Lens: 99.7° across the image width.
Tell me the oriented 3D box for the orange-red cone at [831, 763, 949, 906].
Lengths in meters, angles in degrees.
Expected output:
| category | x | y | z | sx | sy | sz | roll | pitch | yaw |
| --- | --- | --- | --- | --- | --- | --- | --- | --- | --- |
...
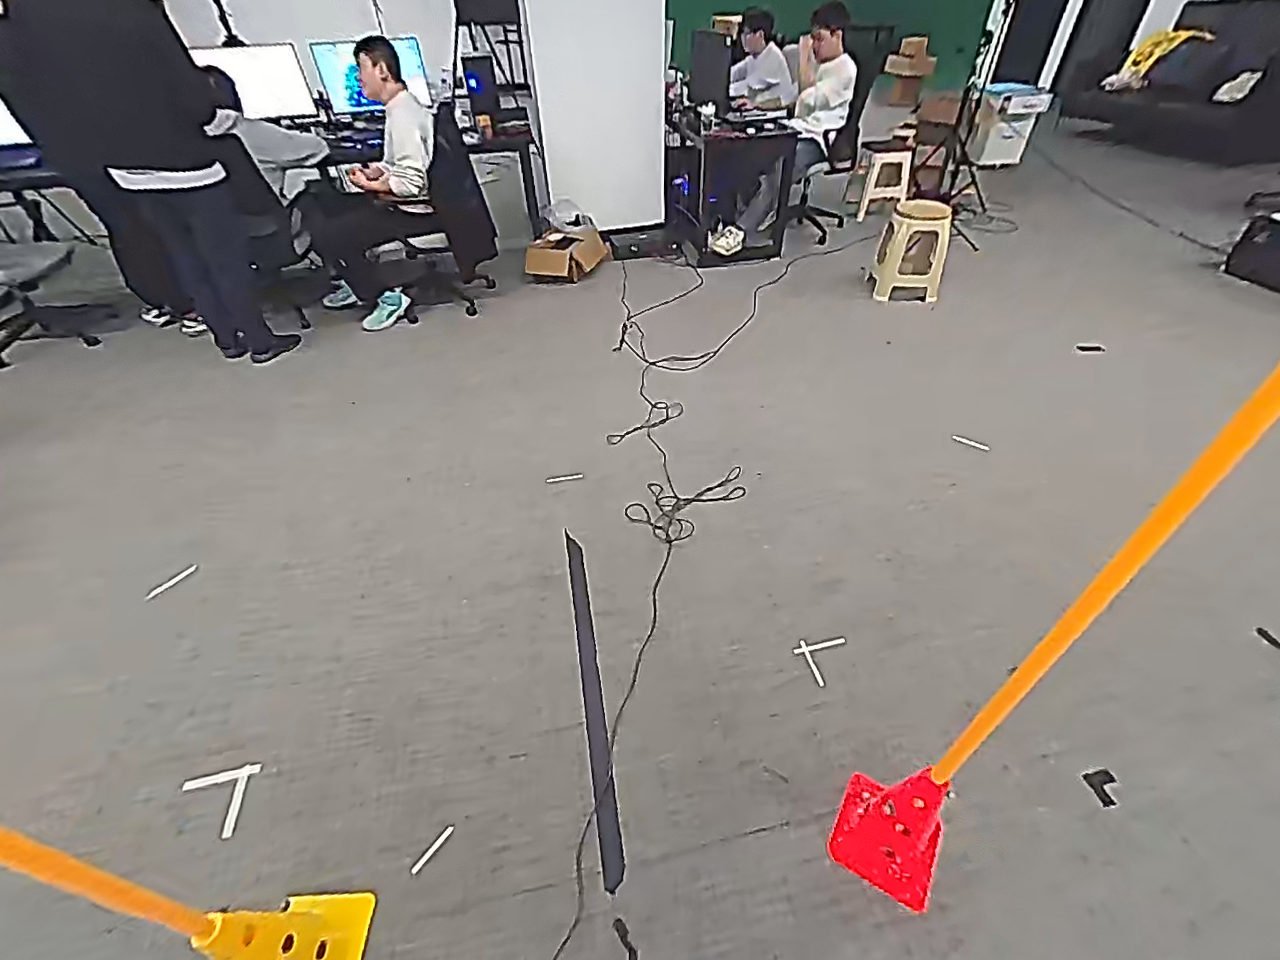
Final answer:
| category | x | y | z | sx | sy | sz | roll | pitch | yaw |
| --- | --- | --- | --- | --- | --- | --- | --- | --- | --- |
| orange-red cone | 0.524 | 0.637 | 1.047 | 0.198 | 0.360 | 0.199 | 23 | 49 | 27 |
